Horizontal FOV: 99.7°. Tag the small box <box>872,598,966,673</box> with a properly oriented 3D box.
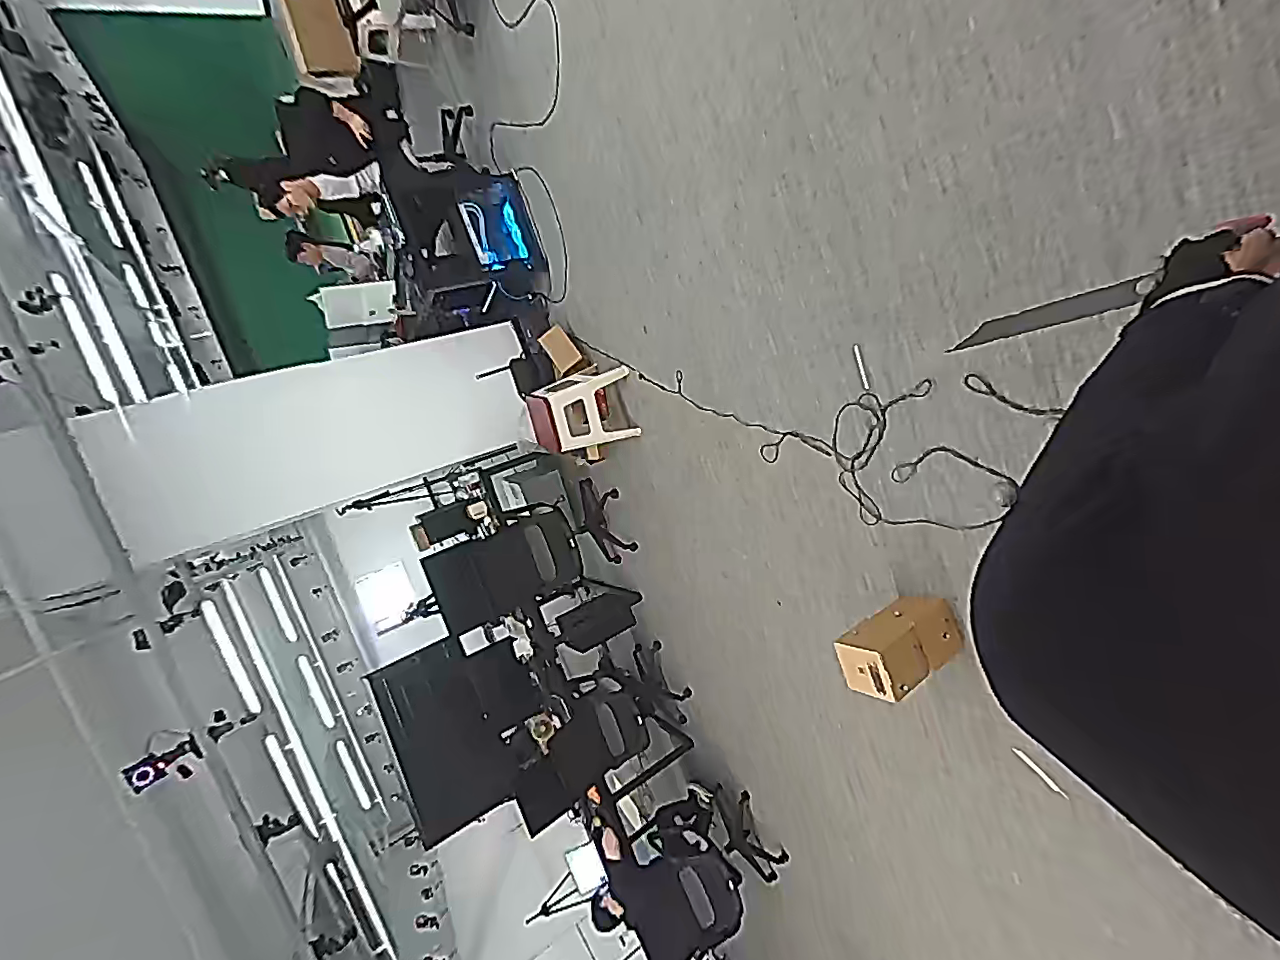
[{"bbox_3d":[0.884,0.485,1.715,0.179,0.176,0.168,-21,92,63],"label":"small box"}]
